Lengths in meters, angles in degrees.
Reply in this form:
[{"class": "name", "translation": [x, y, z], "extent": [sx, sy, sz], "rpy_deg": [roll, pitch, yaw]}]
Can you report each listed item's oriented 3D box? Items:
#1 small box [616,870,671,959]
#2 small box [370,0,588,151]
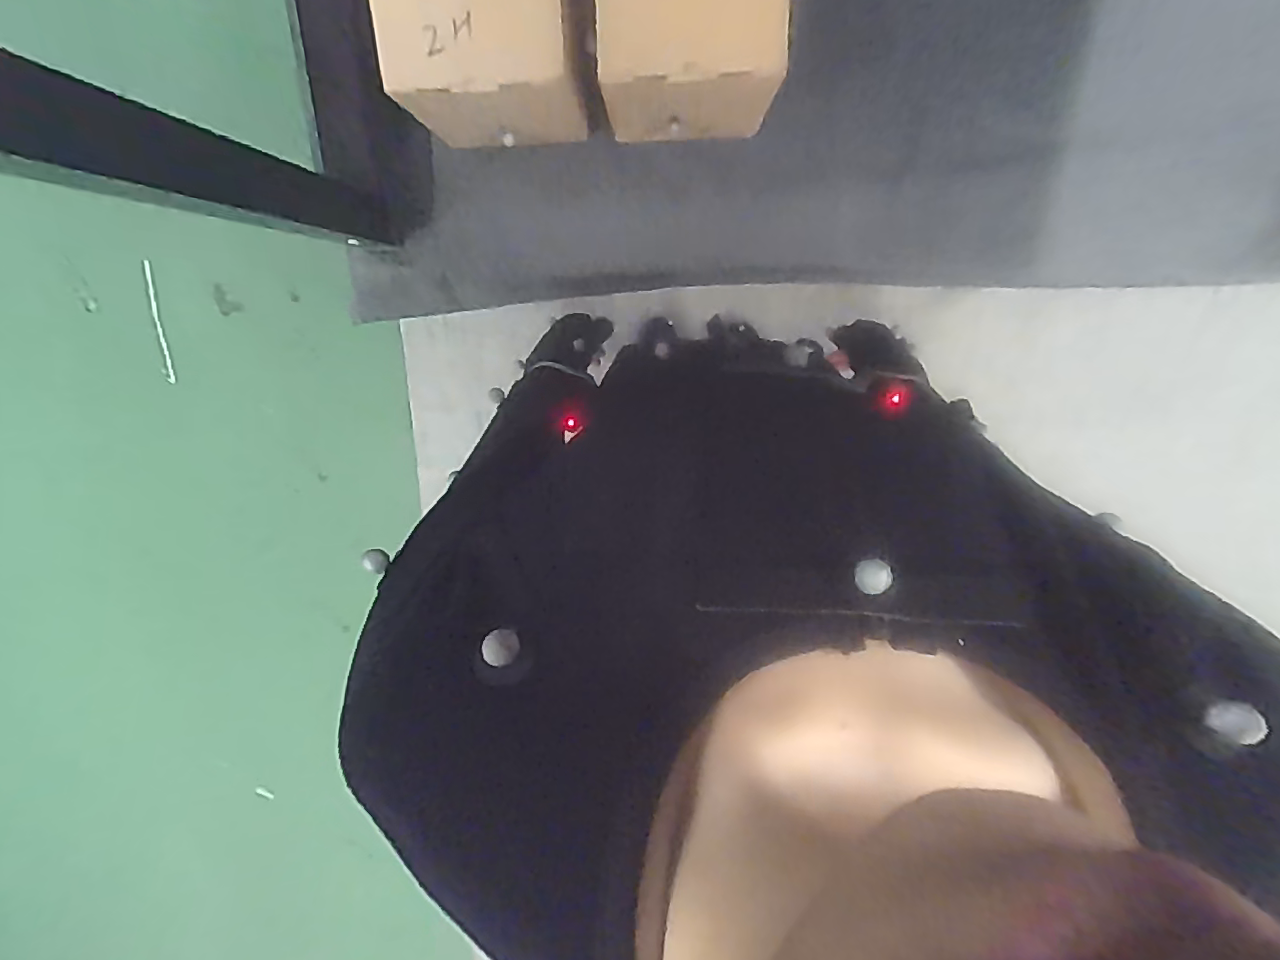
[{"class": "small box", "translation": [0.014, 1.490, 1.860], "extent": [0.168, 0.176, 0.179], "rpy_deg": [8, 108, 1]}, {"class": "small box", "translation": [-0.146, -0.450, 0.531], "extent": [0.168, 0.176, 0.179], "rpy_deg": [-1, 106, 4]}]
